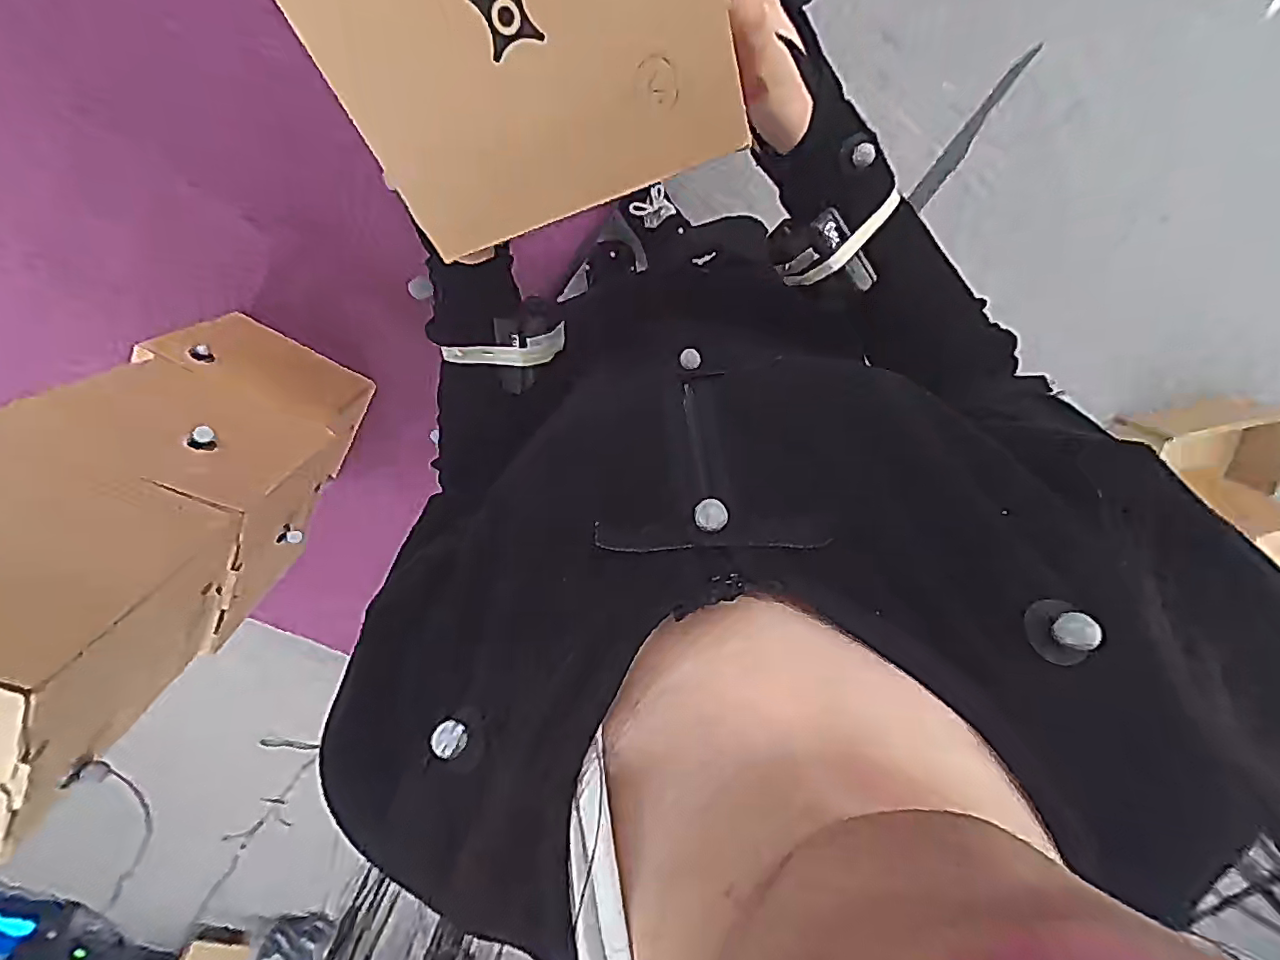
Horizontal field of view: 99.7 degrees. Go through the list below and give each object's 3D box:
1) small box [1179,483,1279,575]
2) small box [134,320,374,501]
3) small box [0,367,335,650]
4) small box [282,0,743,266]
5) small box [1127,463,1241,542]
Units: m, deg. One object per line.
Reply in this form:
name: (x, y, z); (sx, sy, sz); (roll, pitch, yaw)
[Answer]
small box: (1.684, 0.133, 1.514); (0.179, 0.176, 0.168); (-16, 119, 2)
small box: (-0.446, -0.065, 0.634); (0.179, 0.176, 0.168); (28, 112, -17)
small box: (-0.414, 0.017, 0.494); (0.179, 0.176, 0.168); (23, 113, -16)
small box: (-0.055, -0.245, 0.267); (0.168, 0.176, 0.179); (-15, 135, 12)
small box: (1.670, 0.063, 1.659); (0.179, 0.176, 0.168); (-11, 118, 2)
